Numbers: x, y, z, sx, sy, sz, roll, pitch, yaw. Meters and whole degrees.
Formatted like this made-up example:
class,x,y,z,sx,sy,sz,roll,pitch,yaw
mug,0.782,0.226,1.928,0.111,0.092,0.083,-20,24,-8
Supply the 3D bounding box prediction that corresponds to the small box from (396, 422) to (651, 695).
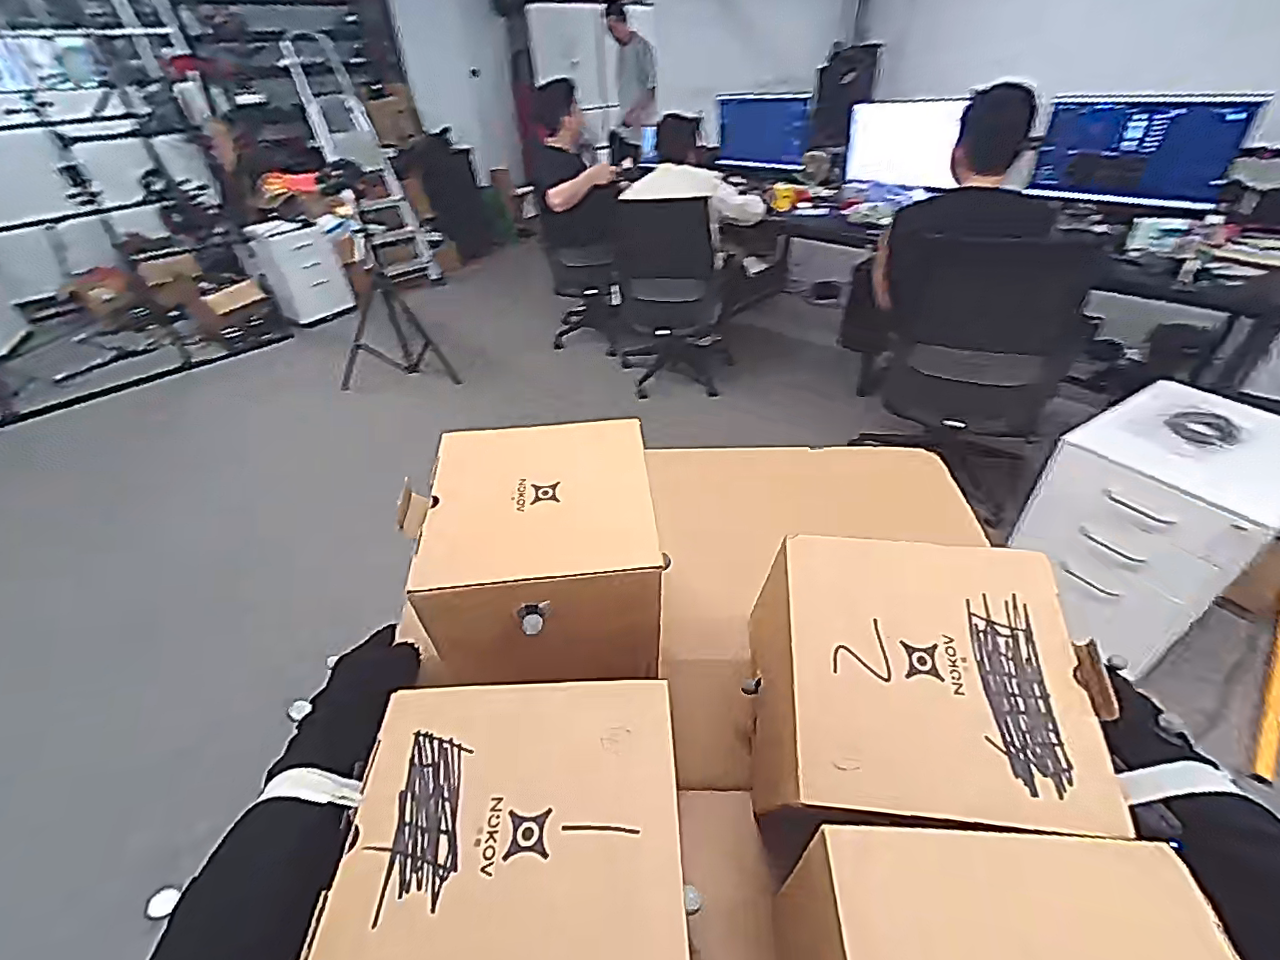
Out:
class,x,y,z,sx,sy,sz,roll,pitch,yaw
small box,-0.087,0.070,0.482,0.179,0.176,0.168,-6,44,-4
